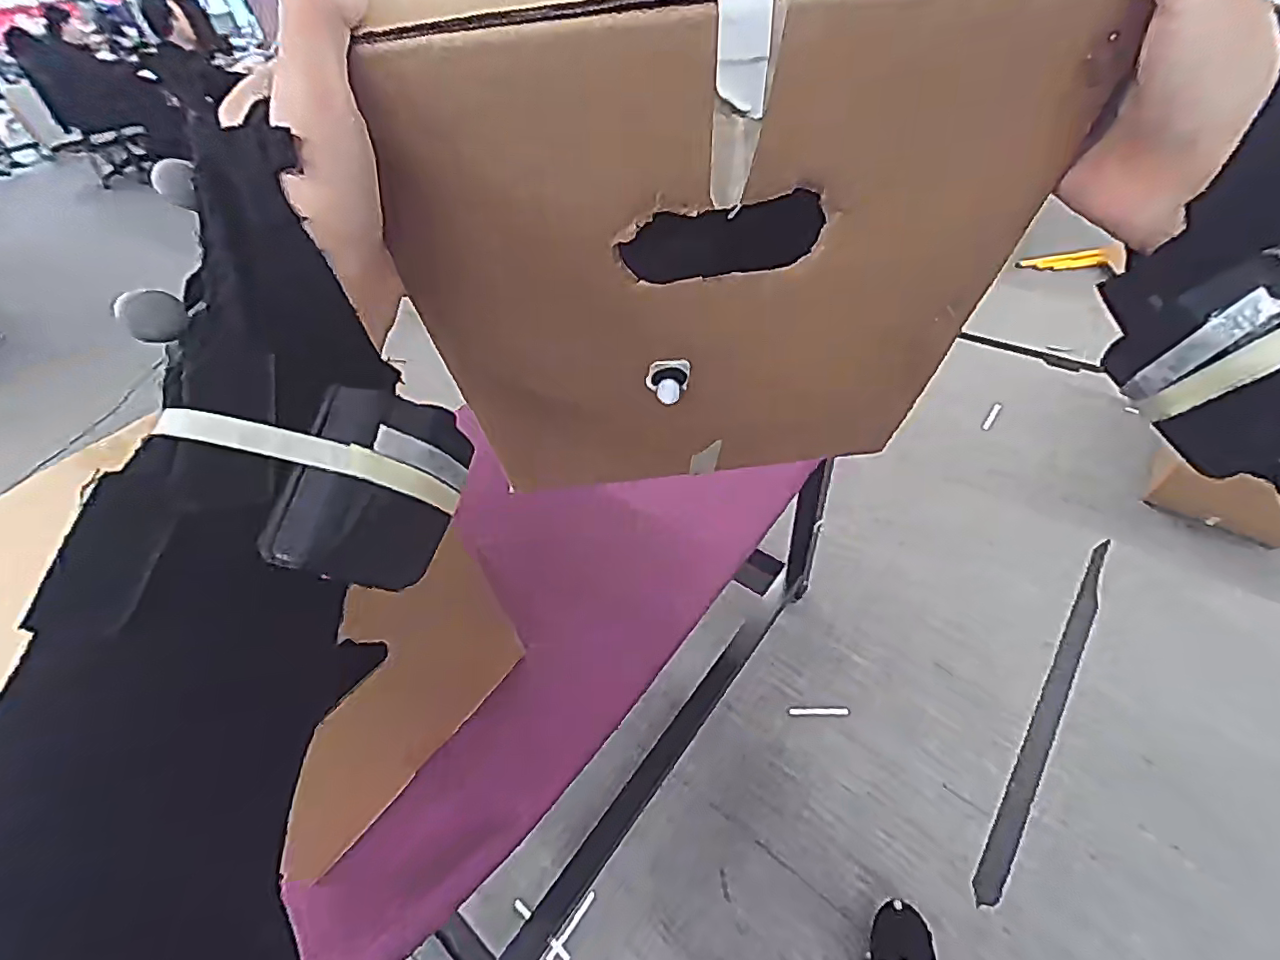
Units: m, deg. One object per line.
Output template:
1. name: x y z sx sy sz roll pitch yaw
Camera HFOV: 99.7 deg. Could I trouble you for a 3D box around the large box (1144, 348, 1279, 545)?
1. large box: 1.717 -0.101 1.522 0.320 0.320 0.408 27 57 28
